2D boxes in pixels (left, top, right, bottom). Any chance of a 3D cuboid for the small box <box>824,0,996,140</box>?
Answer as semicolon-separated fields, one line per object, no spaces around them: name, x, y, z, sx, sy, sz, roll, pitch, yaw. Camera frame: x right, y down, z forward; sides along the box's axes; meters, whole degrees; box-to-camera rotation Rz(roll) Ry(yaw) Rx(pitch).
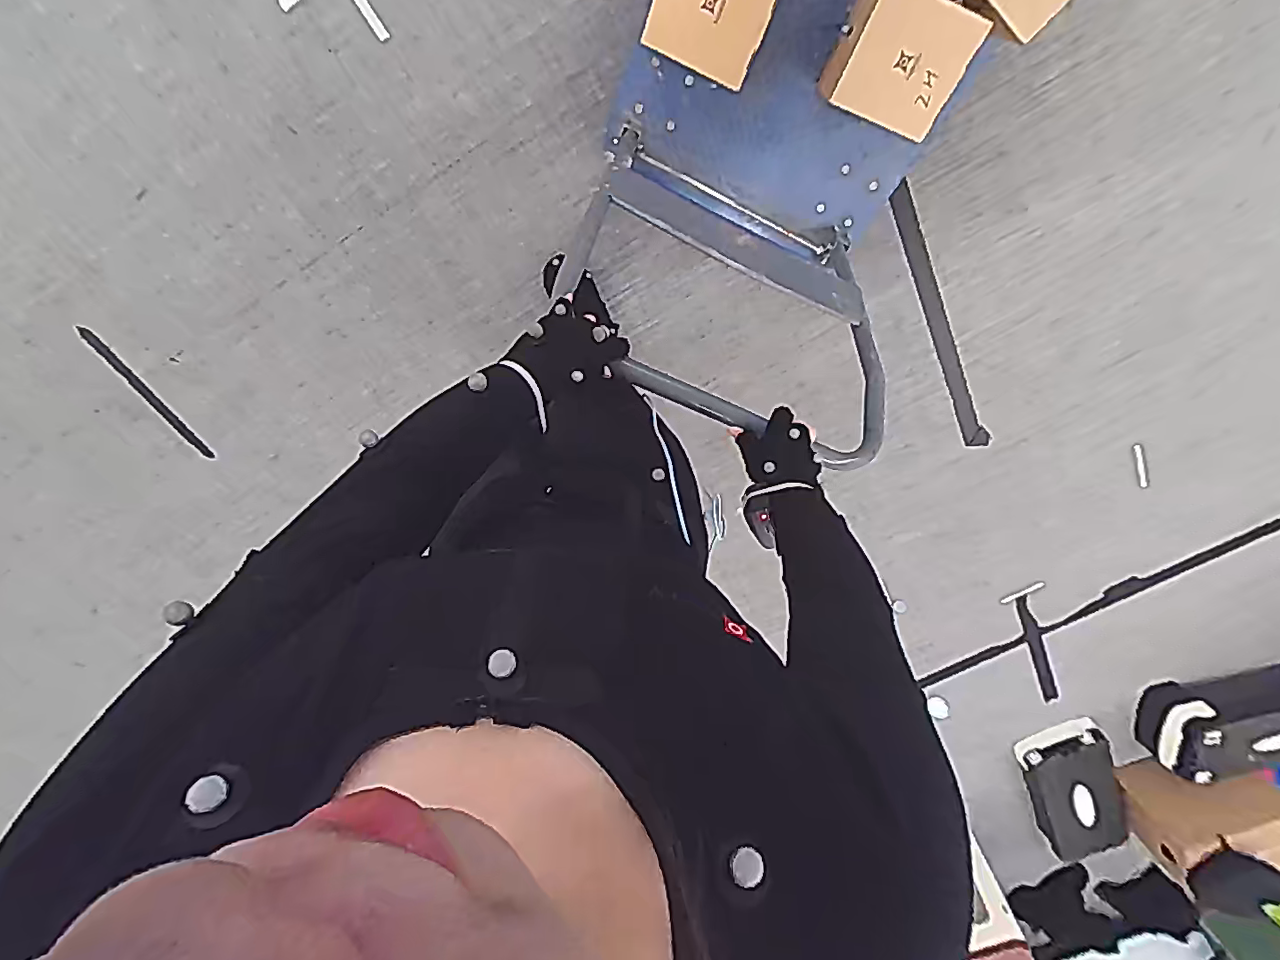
small box;0.424;-0.697;0.887;0.179;0.176;0.168;18;134;-8

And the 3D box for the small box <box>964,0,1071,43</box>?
small box;0.568;-0.787;0.777;0.168;0.176;0.179;31;132;-19

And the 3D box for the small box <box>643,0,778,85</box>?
small box;0.121;-0.773;0.865;0.179;0.176;0.168;19;133;-11
